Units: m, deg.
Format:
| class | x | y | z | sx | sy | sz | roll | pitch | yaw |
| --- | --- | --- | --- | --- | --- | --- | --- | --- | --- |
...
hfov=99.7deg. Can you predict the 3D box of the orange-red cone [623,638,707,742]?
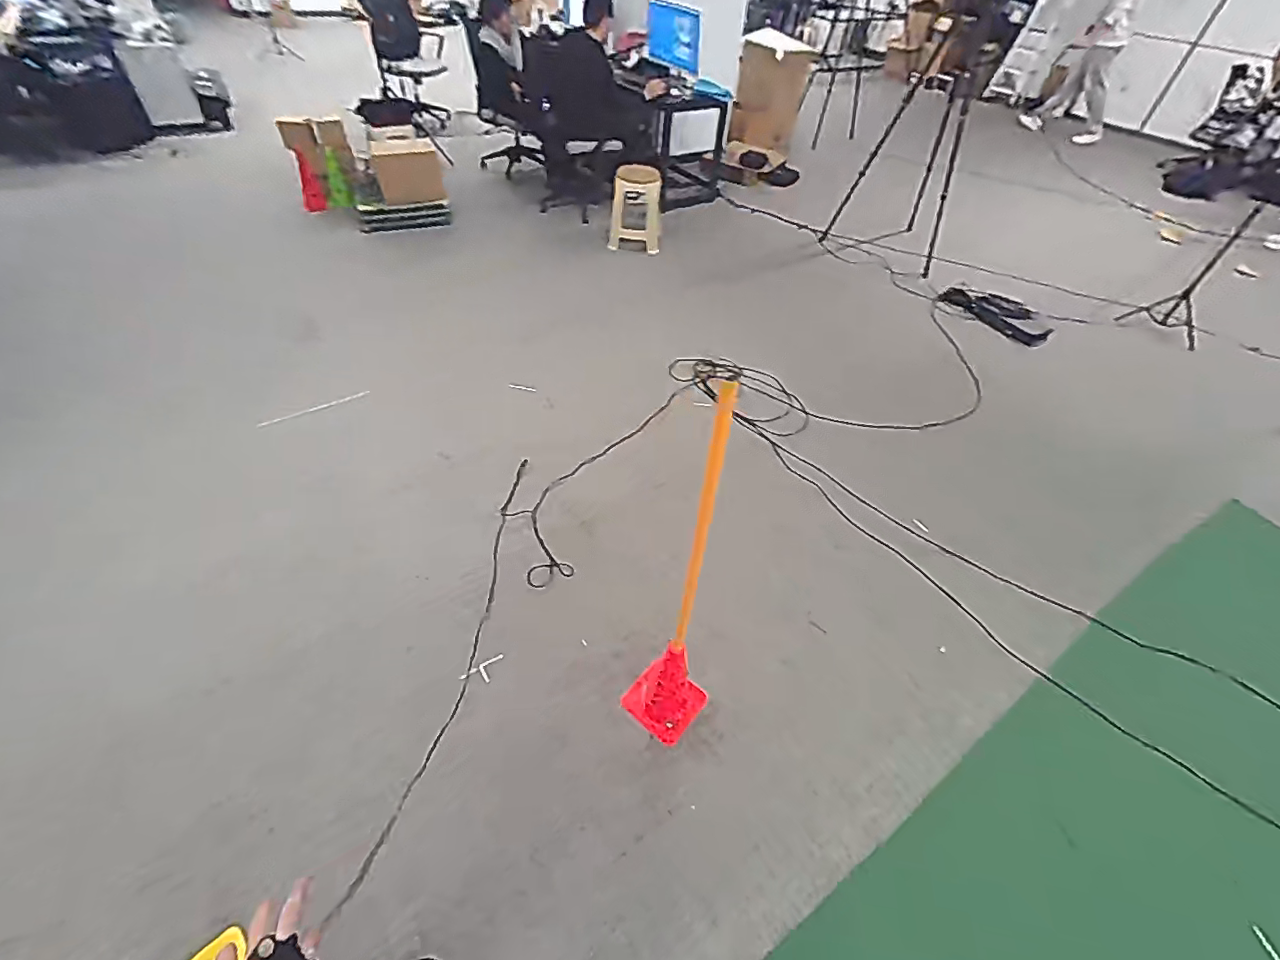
| class | x | y | z | sx | sy | sz | roll | pitch | yaw |
| --- | --- | --- | --- | --- | --- | --- | --- | --- | --- |
| orange-red cone | 0.091 | 0.535 | 1.494 | 0.198 | 0.360 | 0.199 | 35 | 52 | 24 |
